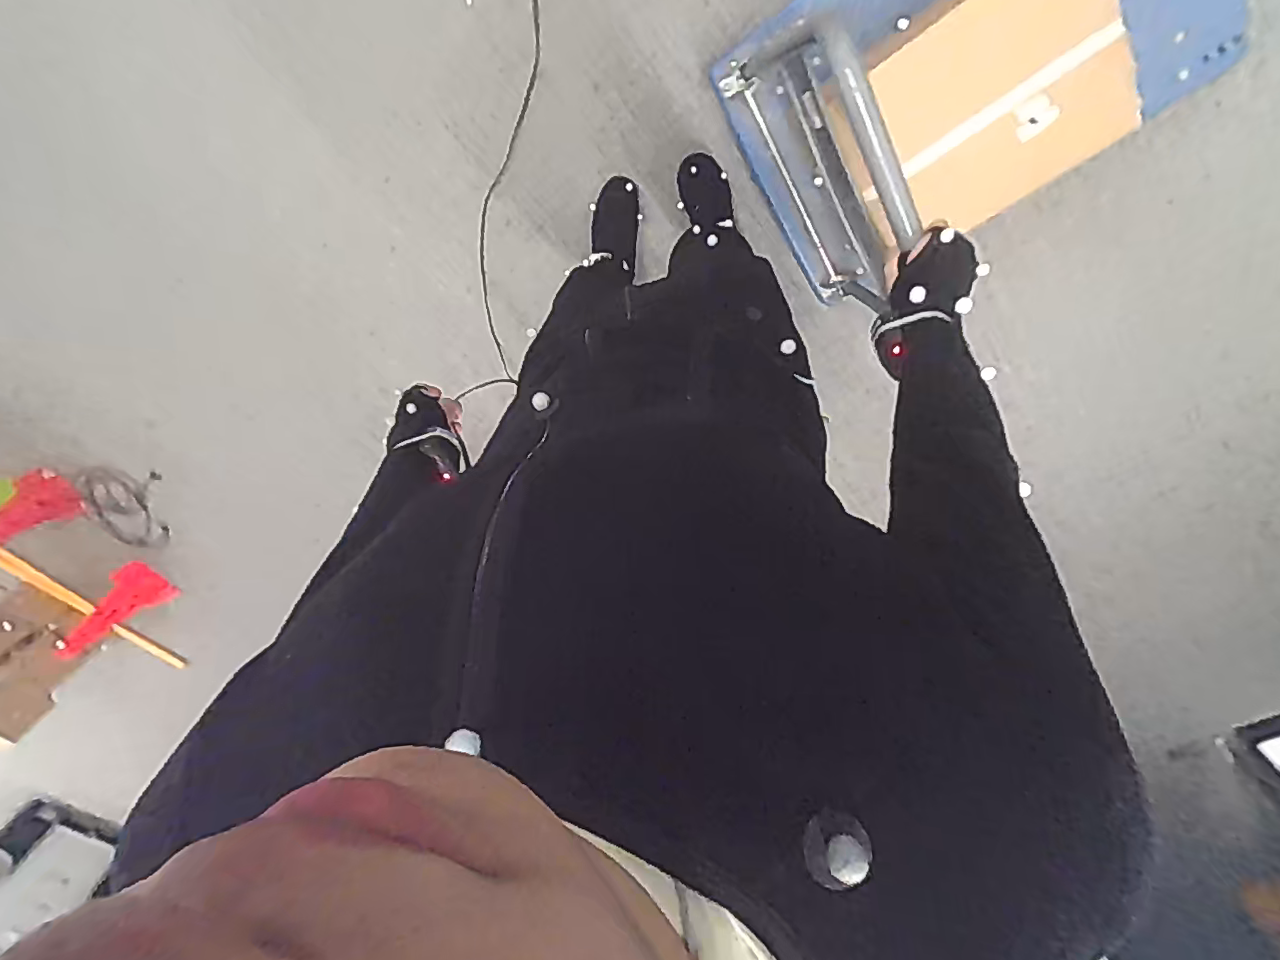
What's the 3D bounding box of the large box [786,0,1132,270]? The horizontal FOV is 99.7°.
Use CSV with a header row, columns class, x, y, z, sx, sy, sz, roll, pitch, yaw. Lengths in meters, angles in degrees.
class,x,y,z,sx,sy,sz,roll,pitch,yaw
large box,0.540,-0.659,0.988,0.408,0.320,0.320,-30,118,19
